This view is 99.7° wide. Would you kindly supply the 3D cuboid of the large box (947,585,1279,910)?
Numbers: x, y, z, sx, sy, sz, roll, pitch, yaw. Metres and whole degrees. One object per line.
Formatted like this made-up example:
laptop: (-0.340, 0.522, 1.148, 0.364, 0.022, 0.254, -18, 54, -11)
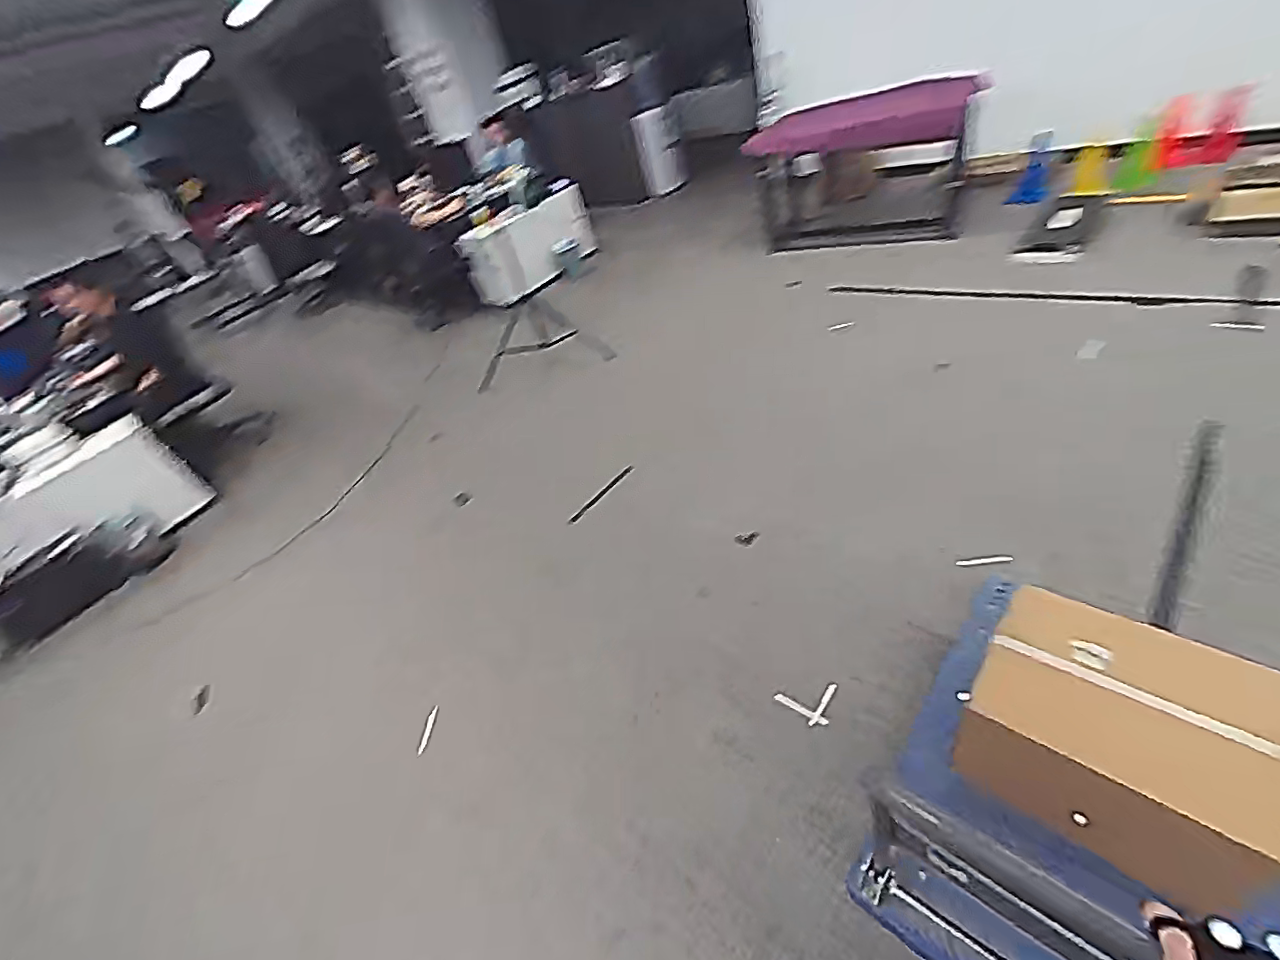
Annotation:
large box: (0.841, 0.464, 0.992, 0.408, 0.320, 0.320, 19, 52, 40)
